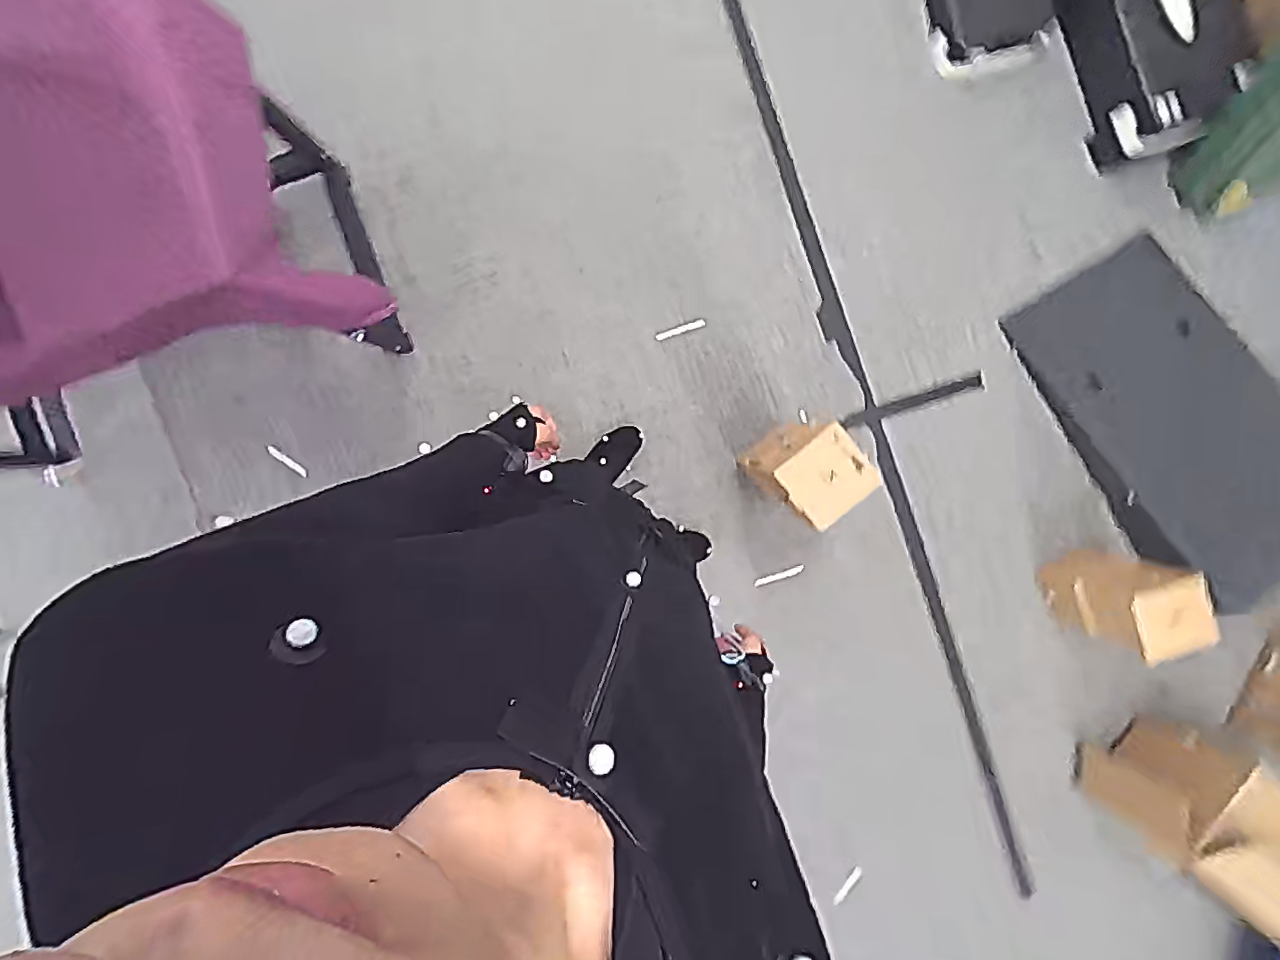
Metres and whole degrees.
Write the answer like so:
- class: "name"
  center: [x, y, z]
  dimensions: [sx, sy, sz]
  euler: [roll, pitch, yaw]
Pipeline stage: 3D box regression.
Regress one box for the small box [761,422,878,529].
- class: "small box"
  center: [0.392, -0.013, 1.227]
  dimensions: [0.179, 0.176, 0.168]
  euler: [-38, 93, 4]
